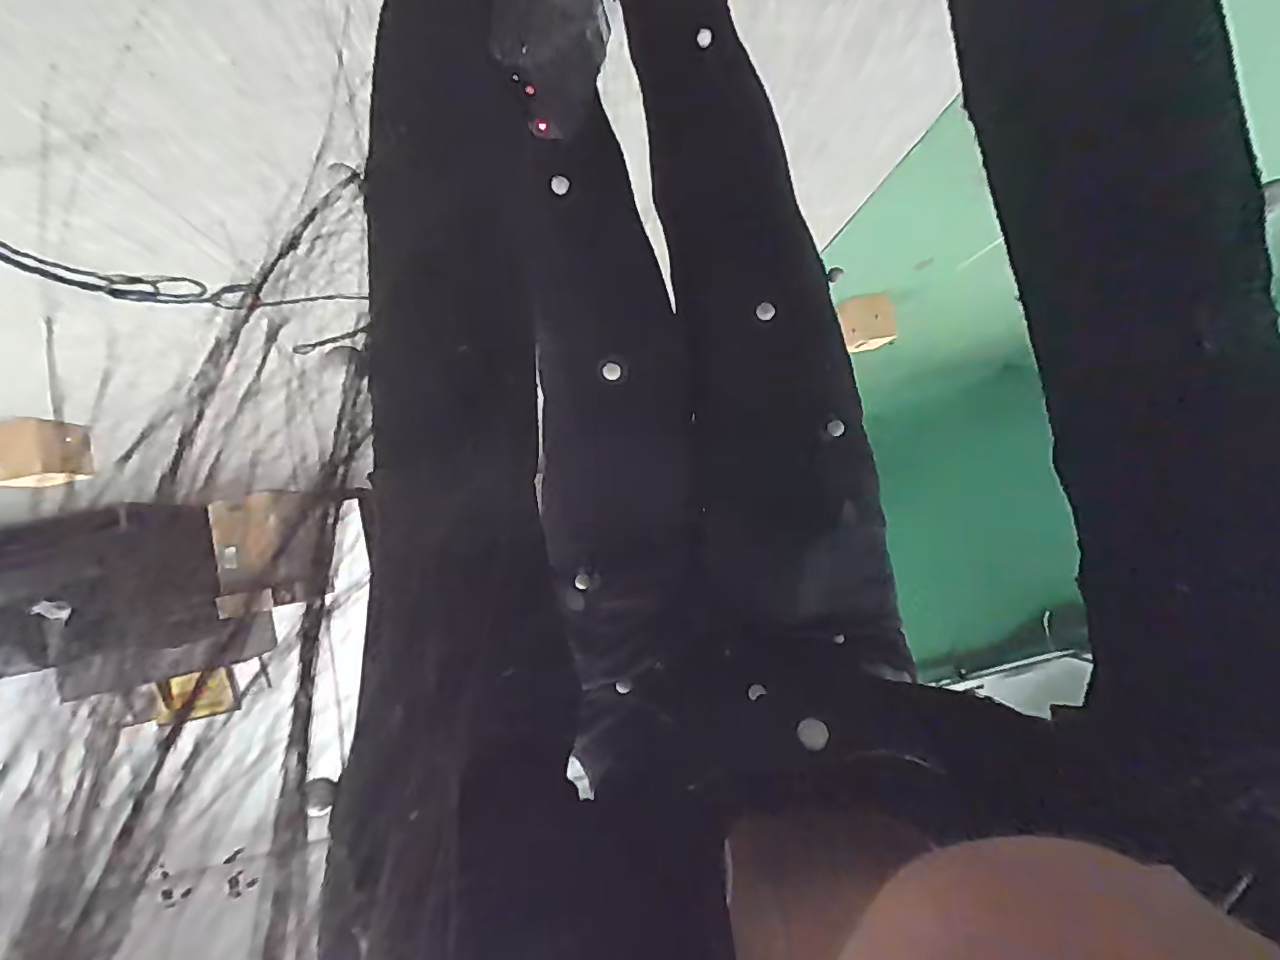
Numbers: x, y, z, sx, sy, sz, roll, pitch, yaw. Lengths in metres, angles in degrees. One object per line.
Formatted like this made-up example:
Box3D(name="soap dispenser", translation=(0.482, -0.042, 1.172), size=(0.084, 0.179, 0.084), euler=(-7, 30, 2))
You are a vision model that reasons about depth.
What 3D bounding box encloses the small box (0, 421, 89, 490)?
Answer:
Box3D(name="small box", translation=(-1.825, -0.071, 1.620), size=(0.179, 0.176, 0.168), euler=(-11, 177, -4))
